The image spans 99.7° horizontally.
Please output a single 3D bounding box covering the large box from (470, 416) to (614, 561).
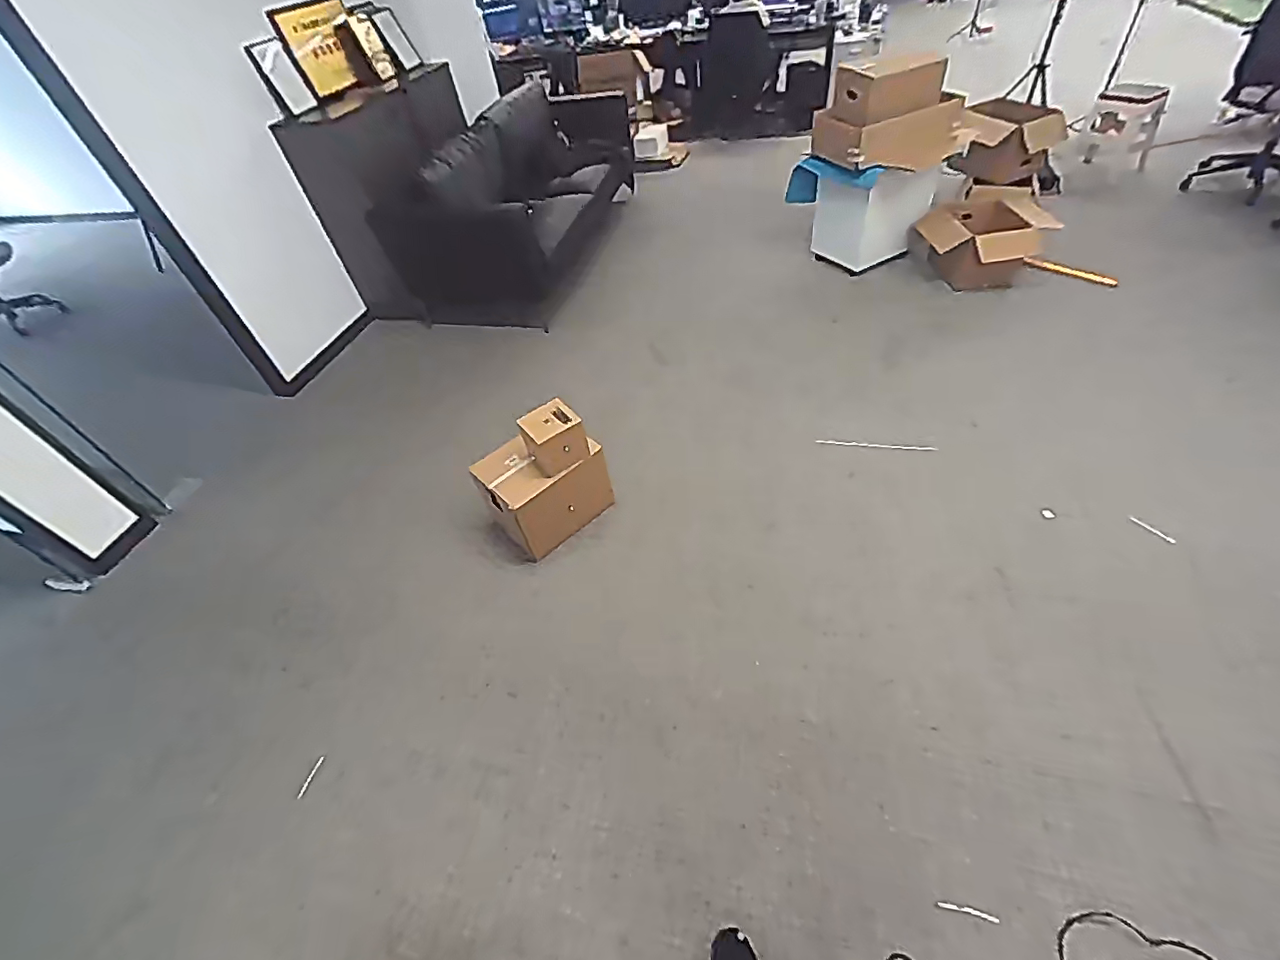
[{"bbox_3d":[-0.361,0.027,2.083,0.408,0.320,0.320,-39,52,-24],"label":"large box"}]
